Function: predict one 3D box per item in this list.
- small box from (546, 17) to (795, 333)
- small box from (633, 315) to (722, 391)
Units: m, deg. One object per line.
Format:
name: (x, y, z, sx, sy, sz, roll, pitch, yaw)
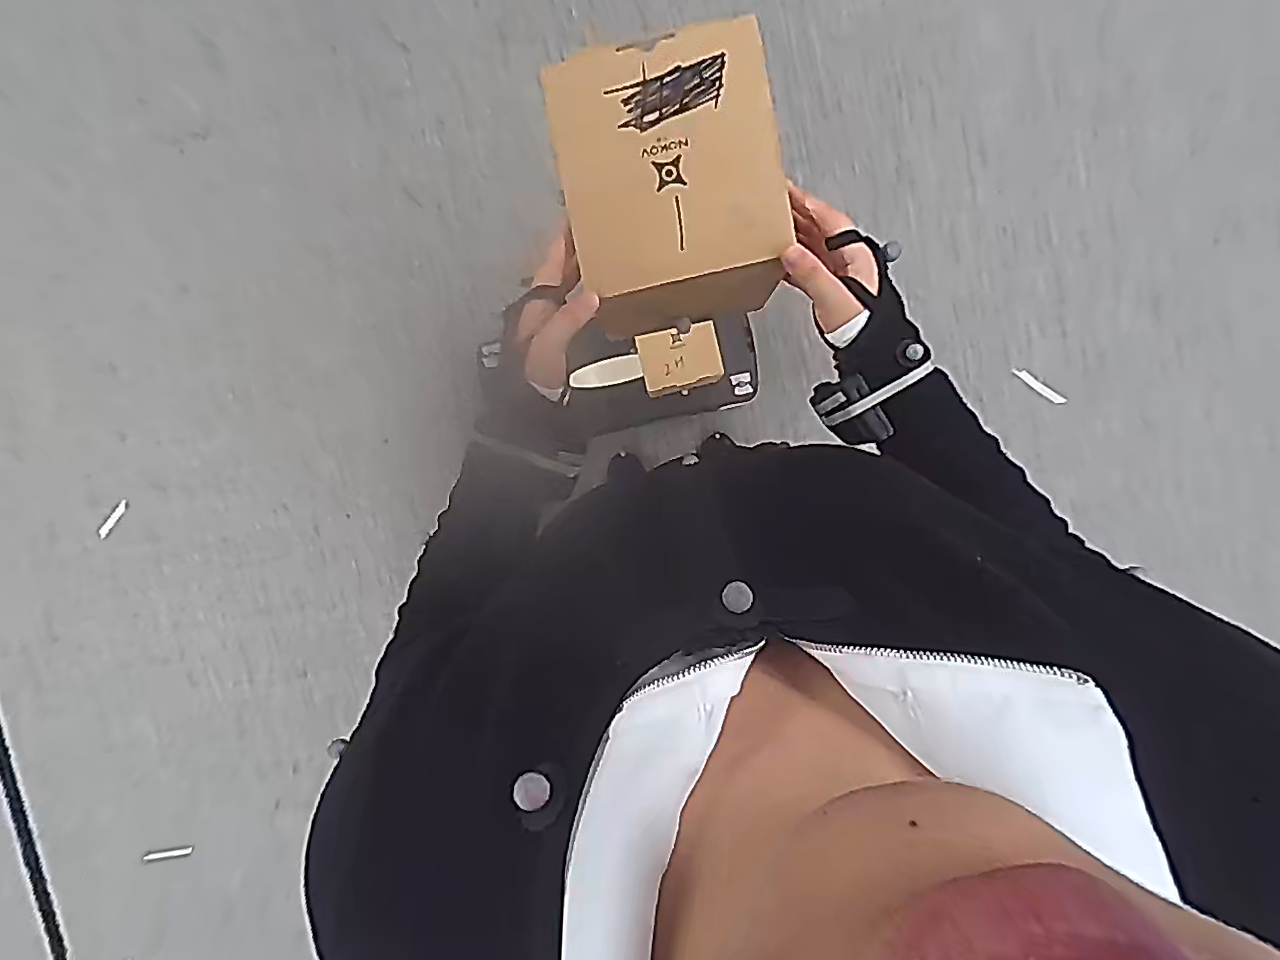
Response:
small box: (0.026, -0.249, 0.489, 0.168, 0.176, 0.179, -11, 94, 4)
small box: (0.077, -0.301, 1.203, 0.168, 0.176, 0.179, -13, 94, 4)
